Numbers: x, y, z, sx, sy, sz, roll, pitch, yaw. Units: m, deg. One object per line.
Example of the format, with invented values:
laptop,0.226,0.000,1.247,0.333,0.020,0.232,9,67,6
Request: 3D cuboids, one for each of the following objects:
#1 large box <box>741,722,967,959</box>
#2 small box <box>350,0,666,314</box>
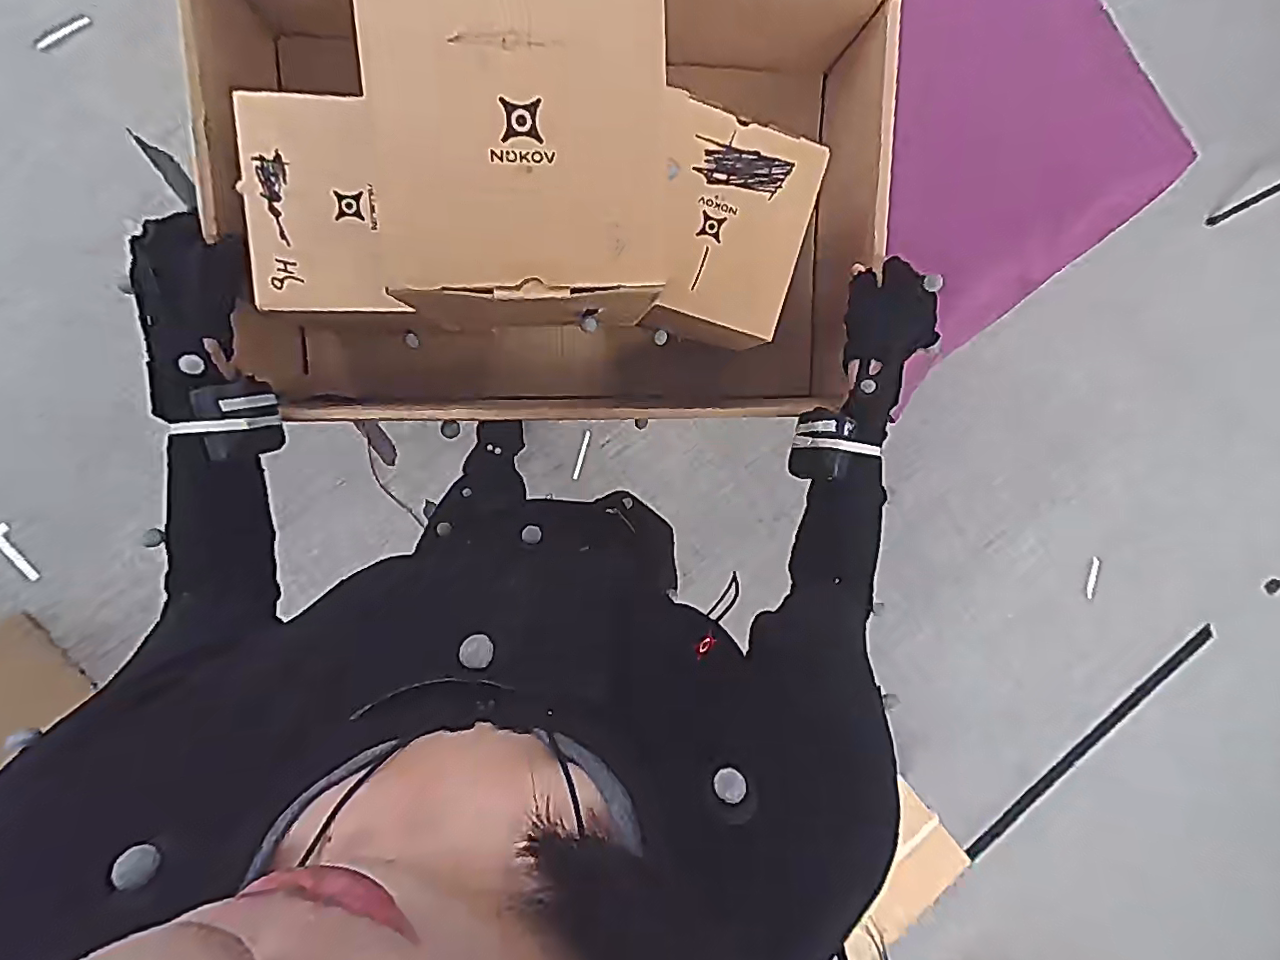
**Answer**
large box,0.553,0.957,1.457,0.408,0.320,0.320,-40,95,-5
small box,-0.077,-0.213,0.371,0.168,0.176,0.179,-3,99,-8
